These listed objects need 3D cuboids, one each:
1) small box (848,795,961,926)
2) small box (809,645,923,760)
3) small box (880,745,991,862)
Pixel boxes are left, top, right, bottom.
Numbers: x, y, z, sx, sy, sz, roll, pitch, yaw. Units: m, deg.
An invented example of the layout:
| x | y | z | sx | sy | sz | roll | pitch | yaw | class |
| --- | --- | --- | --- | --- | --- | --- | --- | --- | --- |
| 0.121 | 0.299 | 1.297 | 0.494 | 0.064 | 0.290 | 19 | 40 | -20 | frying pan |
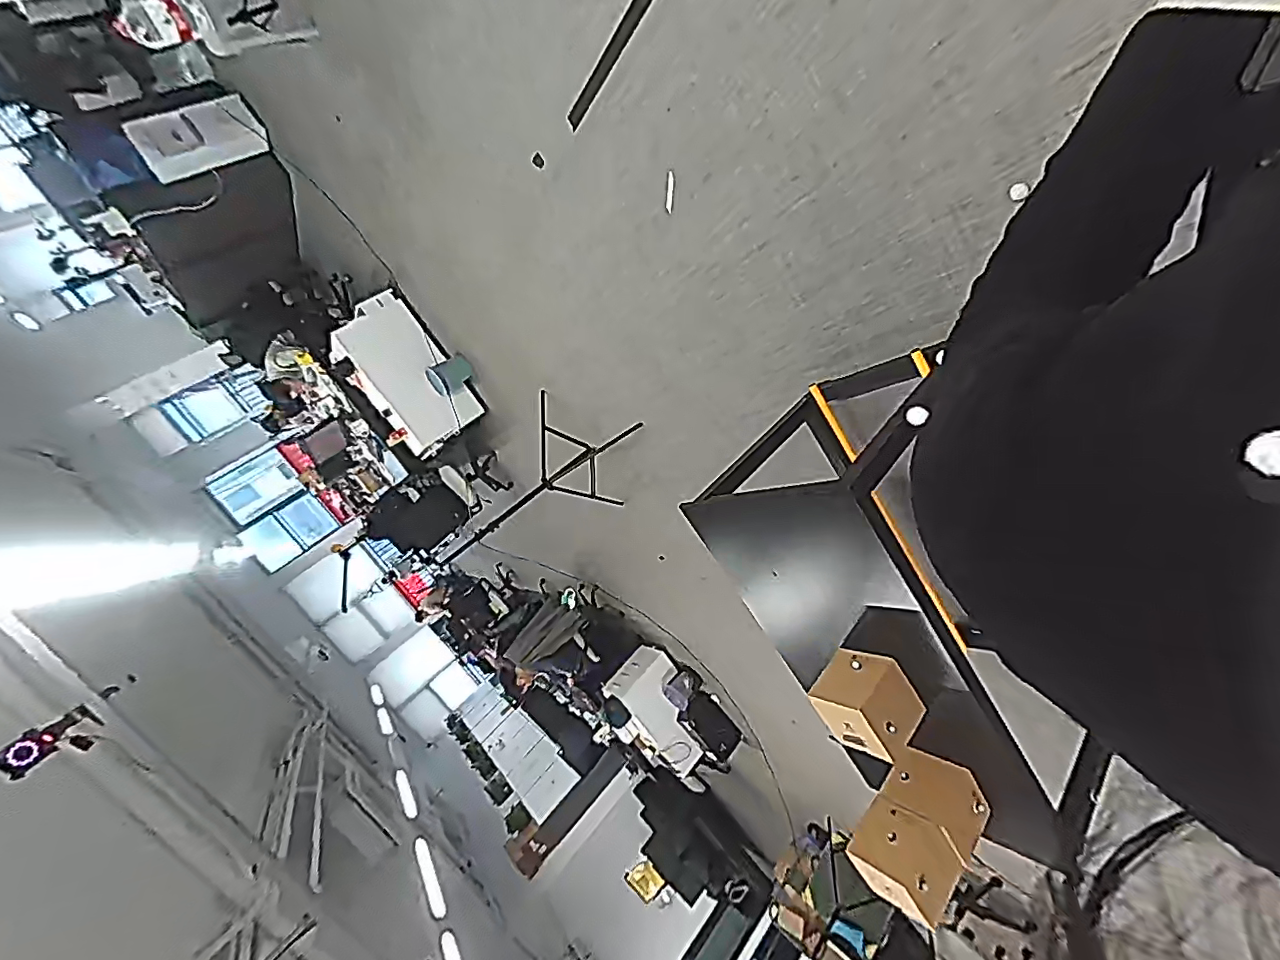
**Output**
| x | y | z | sx | sy | sz | roll | pitch | yaw | class |
| --- | --- | --- | --- | --- | --- | --- | --- | --- | --- |
| 0.662 | 0.936 | 1.349 | 0.179 | 0.176 | 0.168 | 56 | 154 | -16 | small box |
| 0.564 | 0.544 | 1.341 | 0.179 | 0.176 | 0.168 | 55 | 153 | -12 | small box |
| 0.773 | 0.833 | 1.415 | 0.168 | 0.176 | 0.179 | 56 | 152 | -16 | small box |
